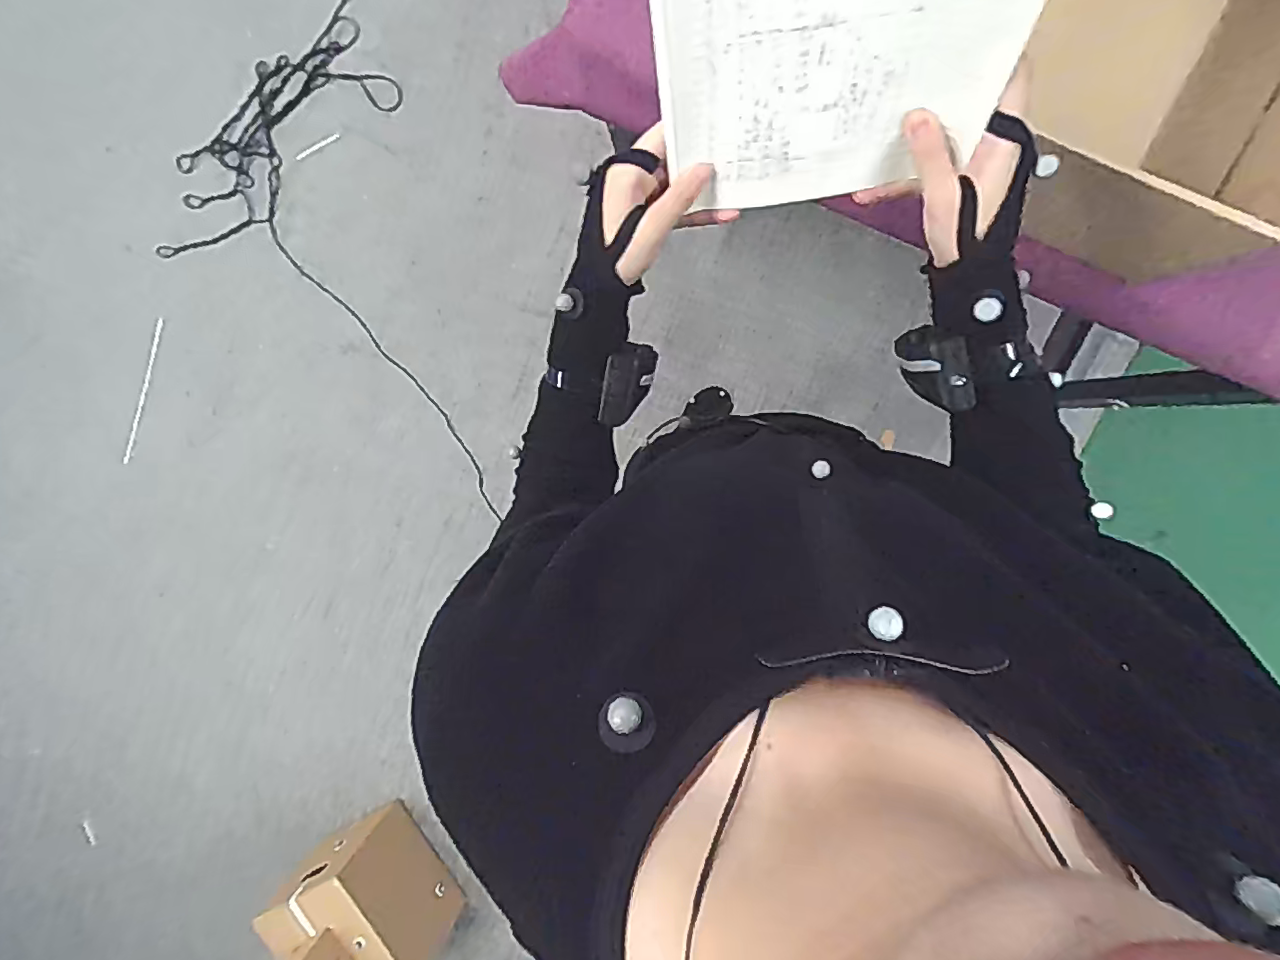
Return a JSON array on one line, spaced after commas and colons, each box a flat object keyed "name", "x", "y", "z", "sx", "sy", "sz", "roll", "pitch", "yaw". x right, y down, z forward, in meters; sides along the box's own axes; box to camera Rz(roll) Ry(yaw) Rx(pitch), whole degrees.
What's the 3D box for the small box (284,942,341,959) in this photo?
[{"name": "small box", "x": -0.854, "y": 1.312, "z": 1.349, "sx": 0.168, "sy": 0.176, "sz": 0.179, "roll": -36, "pitch": 91, "yaw": 10}]
